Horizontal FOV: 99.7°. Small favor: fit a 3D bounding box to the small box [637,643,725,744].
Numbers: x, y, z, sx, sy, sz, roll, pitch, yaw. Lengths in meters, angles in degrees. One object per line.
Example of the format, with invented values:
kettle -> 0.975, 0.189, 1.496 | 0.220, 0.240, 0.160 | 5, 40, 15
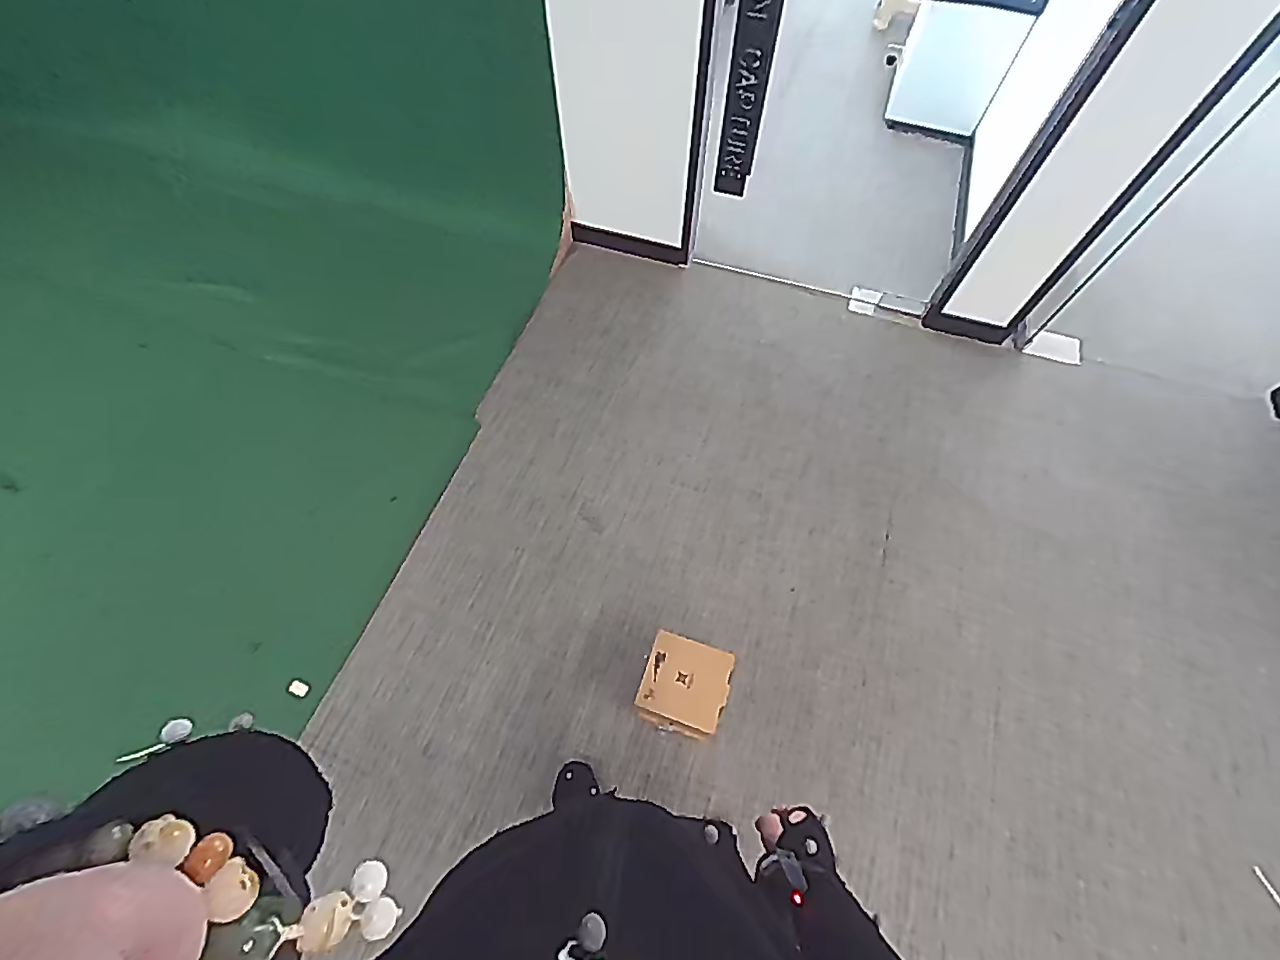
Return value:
small box -> 0.098, 0.529, 1.335 | 0.168, 0.176, 0.179 | 19, 65, 11
